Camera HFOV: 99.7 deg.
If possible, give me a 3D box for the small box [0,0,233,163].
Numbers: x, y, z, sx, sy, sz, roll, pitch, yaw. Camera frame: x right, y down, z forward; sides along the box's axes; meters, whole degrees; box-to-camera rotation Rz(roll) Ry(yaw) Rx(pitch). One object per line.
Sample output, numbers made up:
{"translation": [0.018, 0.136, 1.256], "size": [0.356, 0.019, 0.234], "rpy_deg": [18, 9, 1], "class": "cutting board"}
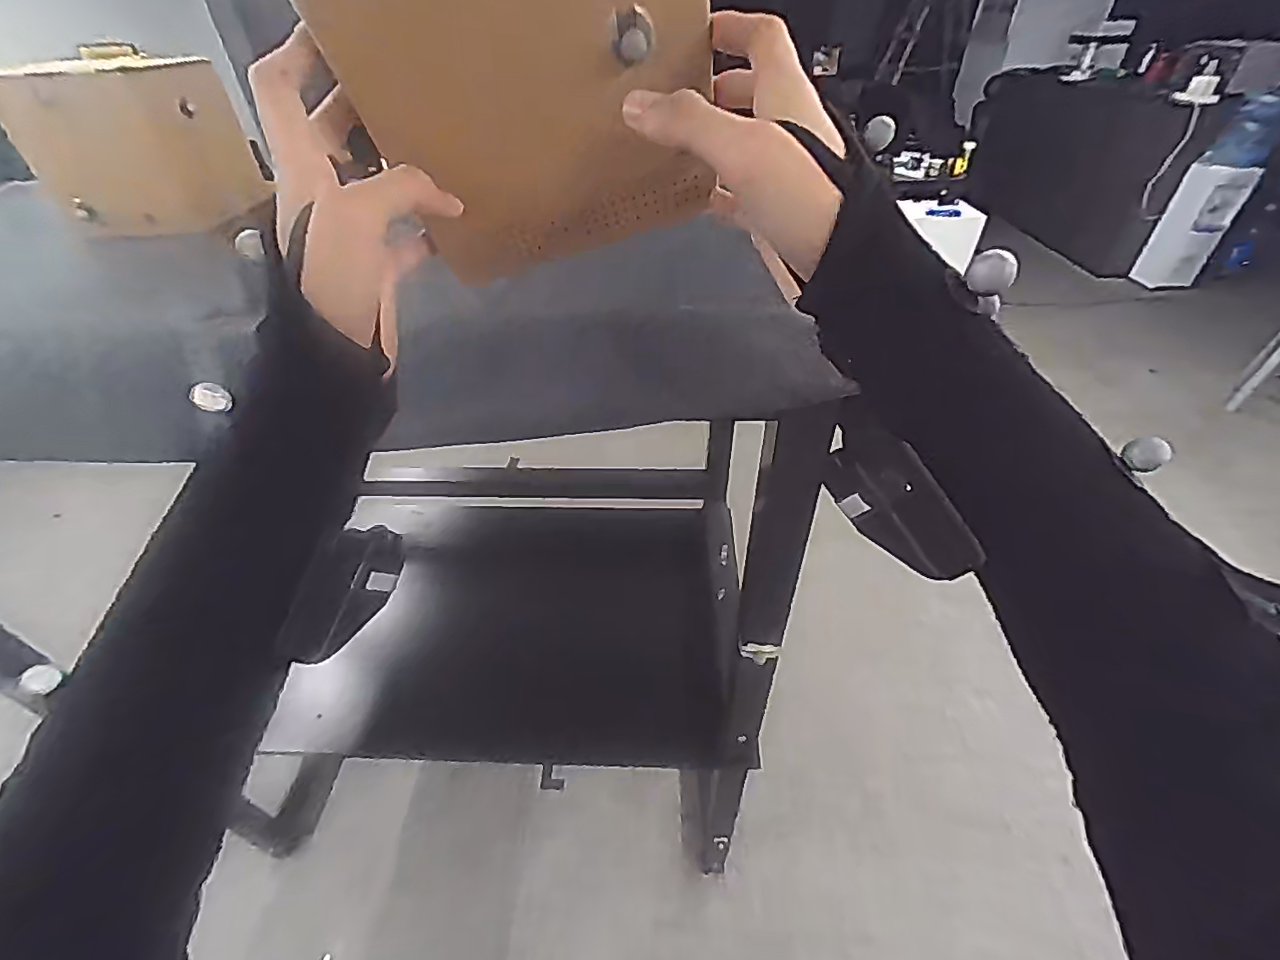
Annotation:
{"translation": [-0.638, -0.486, 0.641], "size": [0.168, 0.176, 0.179], "rpy_deg": [-2, 42, -1], "class": "small box"}
